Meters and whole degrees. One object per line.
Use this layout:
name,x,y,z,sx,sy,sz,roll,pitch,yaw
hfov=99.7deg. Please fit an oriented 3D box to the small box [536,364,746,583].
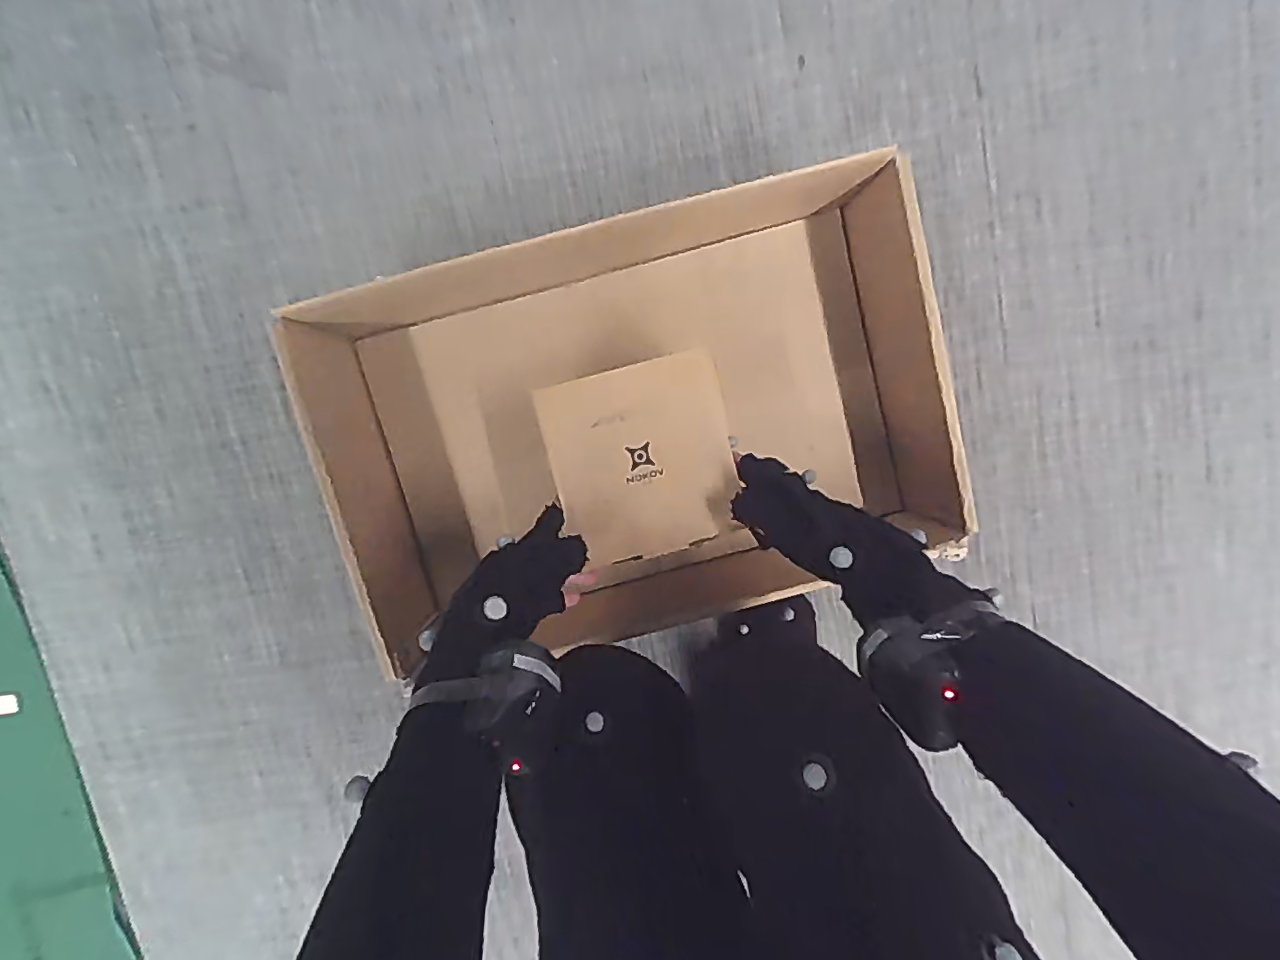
small box,0.002,-0.006,0.580,0.168,0.176,0.179,-15,89,-1
